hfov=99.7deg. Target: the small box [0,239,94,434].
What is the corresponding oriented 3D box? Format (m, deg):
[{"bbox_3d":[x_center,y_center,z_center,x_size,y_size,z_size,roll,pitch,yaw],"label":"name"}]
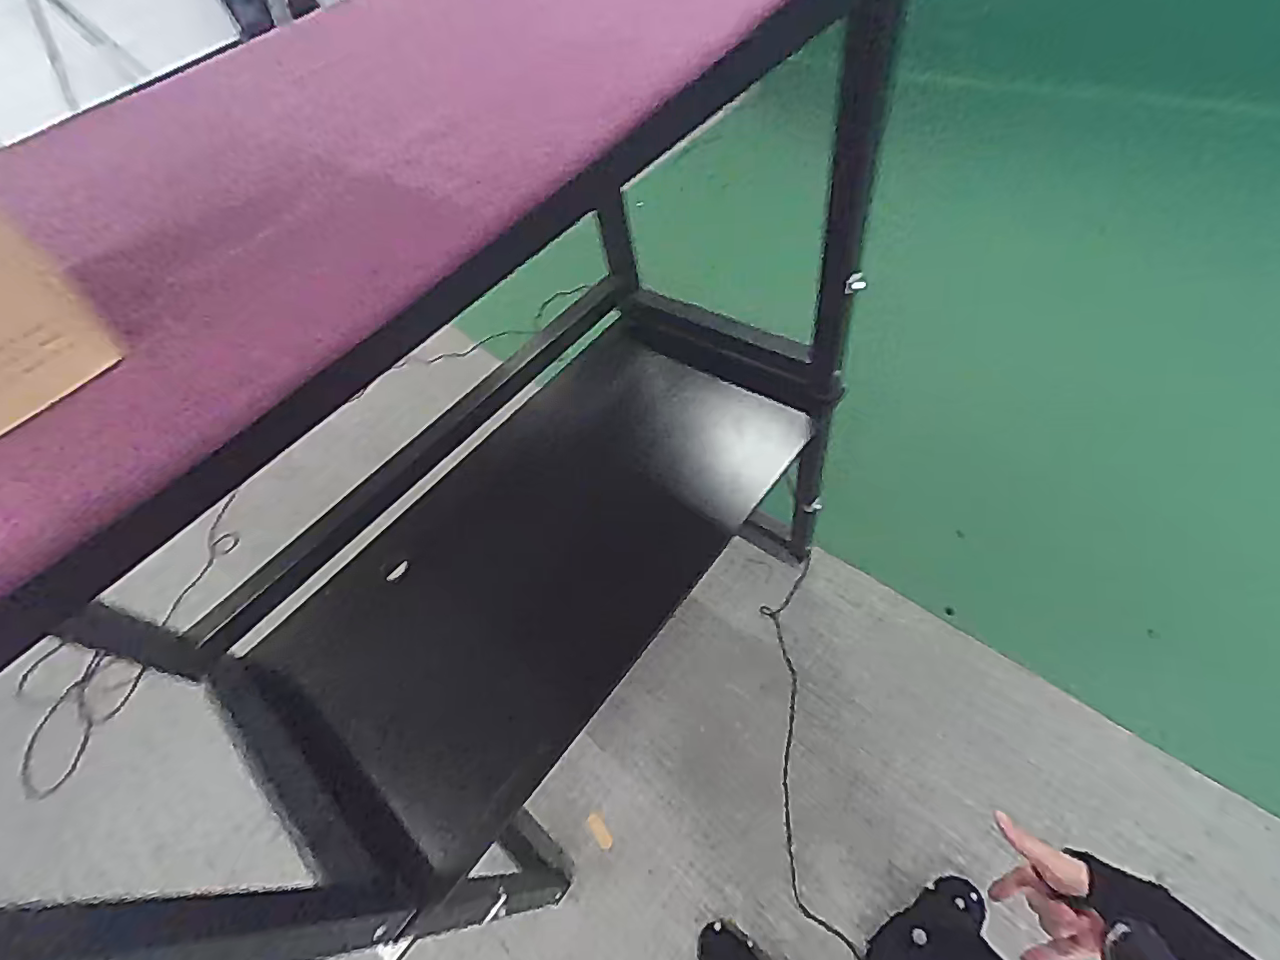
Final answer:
[{"bbox_3d":[-0.396,-0.086,0.226,0.179,0.176,0.168,30,66,31],"label":"small box"}]
